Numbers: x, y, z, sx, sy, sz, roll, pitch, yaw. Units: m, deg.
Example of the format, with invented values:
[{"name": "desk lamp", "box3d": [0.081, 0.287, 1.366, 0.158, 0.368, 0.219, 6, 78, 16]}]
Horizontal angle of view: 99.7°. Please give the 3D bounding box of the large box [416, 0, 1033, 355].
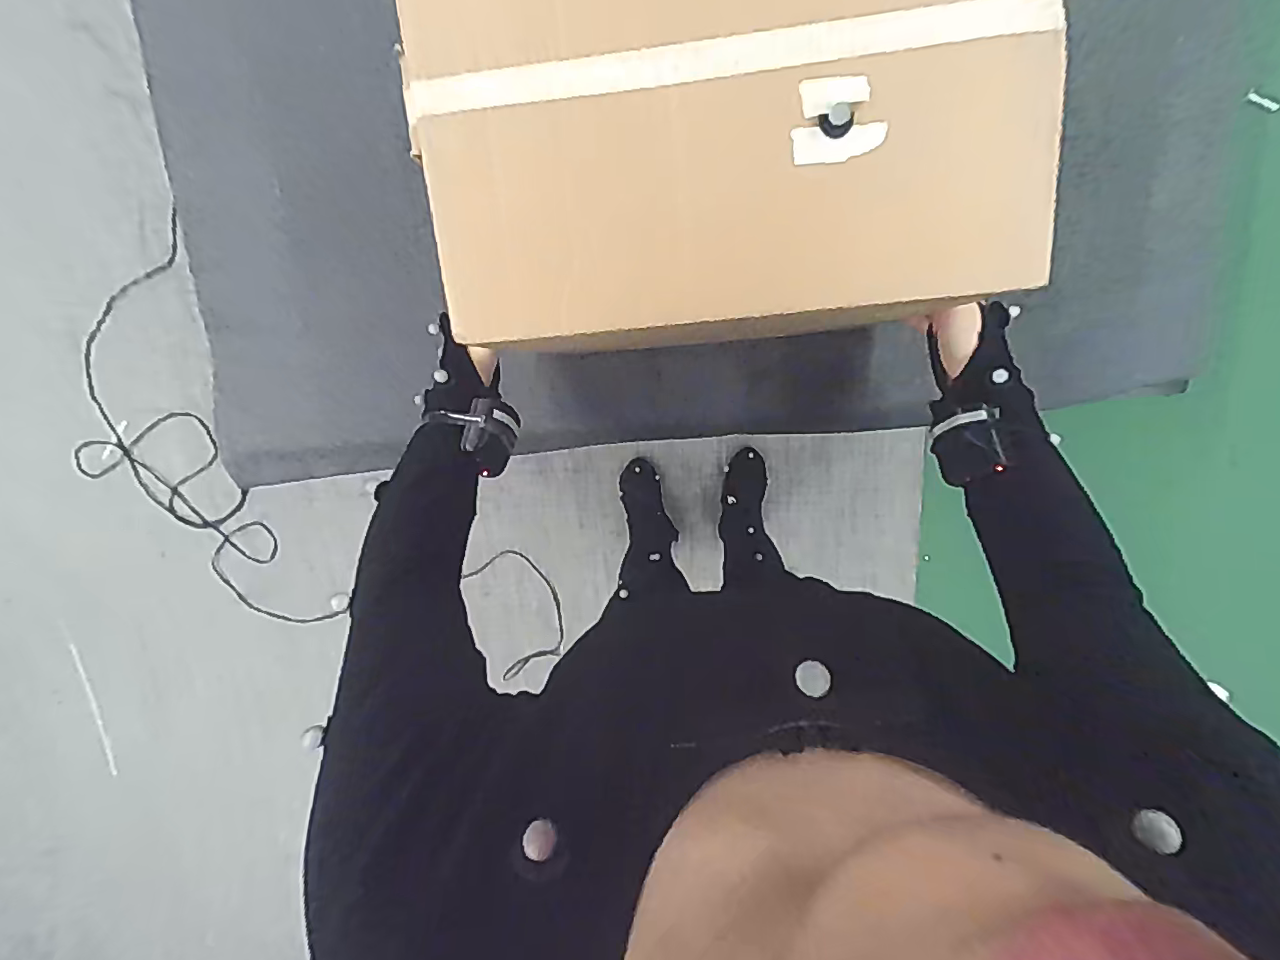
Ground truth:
[{"name": "large box", "box3d": [0.060, -0.301, 0.506, 0.408, 0.320, 0.320, -5, 101, 4]}]
